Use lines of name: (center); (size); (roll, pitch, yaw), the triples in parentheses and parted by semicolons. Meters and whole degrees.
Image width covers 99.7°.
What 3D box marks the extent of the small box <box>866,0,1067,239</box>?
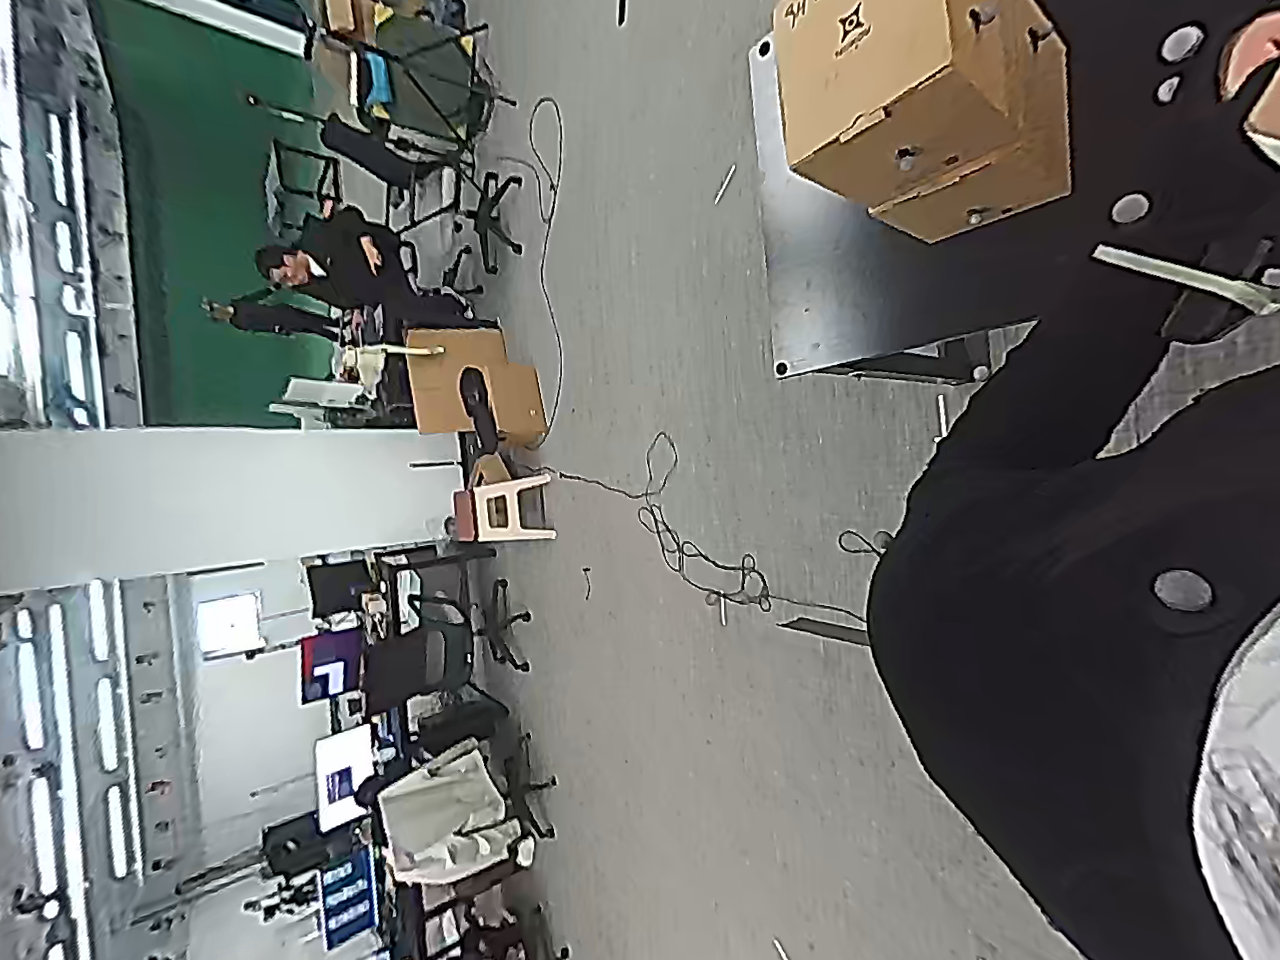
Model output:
small box: (0.391, -0.419, 0.652); (0.168, 0.176, 0.179); (-2, 93, 52)

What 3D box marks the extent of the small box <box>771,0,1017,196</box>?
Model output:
small box: (0.260, -0.418, 0.554); (0.168, 0.176, 0.179); (-6, 89, 52)
